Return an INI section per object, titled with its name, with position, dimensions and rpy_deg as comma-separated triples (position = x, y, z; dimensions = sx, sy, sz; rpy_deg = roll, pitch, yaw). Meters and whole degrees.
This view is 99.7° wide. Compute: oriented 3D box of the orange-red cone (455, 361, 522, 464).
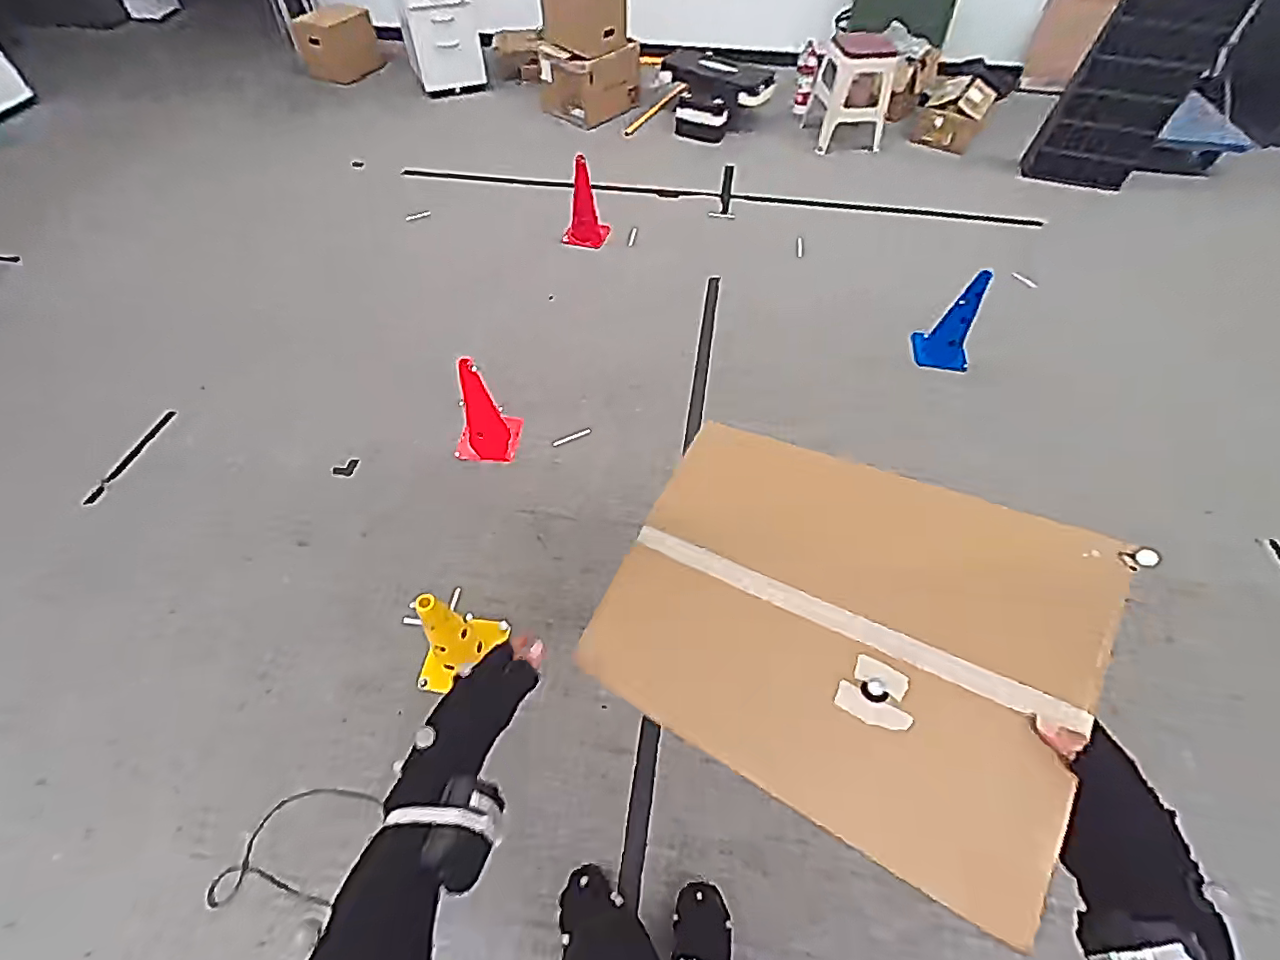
[orange-red cone]
position = -0.522, -0.236, 1.734
dimensions = 0.198, 0.360, 0.199
rpy_deg = 4, 56, 4

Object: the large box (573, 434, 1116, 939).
[large box]
position = 0.208, 0.197, 0.622
dimensions = 0.408, 0.320, 0.320
rpy_deg = 20, 71, 28

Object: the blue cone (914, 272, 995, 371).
[blue cone]
position = 1.202, -0.607, 2.032
dimensions = 0.192, 0.380, 0.193
rpy_deg = 10, 55, 5

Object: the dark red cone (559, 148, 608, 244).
[dark red cone]
position = -0.264, -1.289, 2.452
dimensions = 0.201, 0.394, 0.202
rpy_deg = 13, 56, 7
